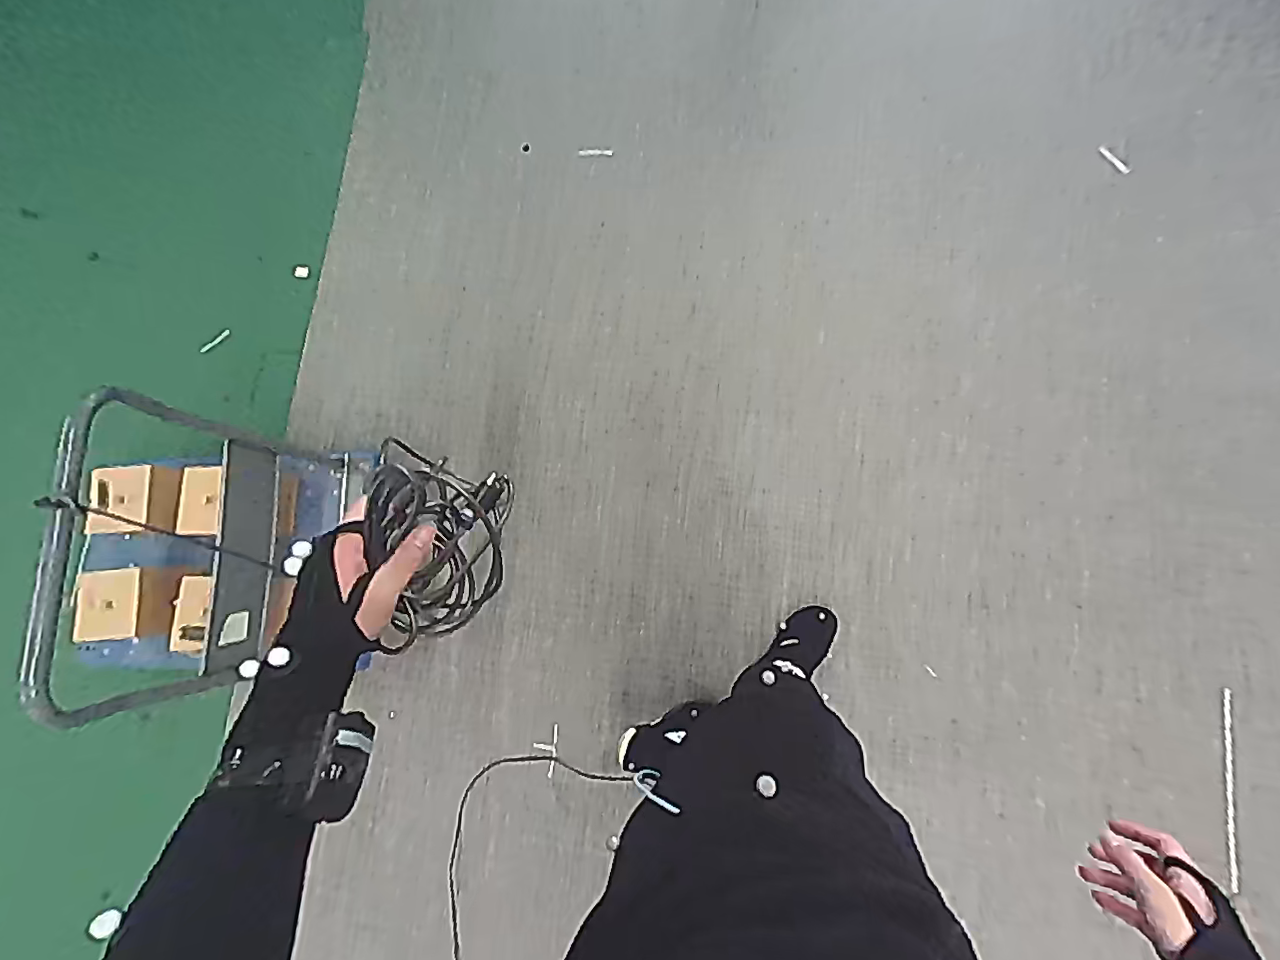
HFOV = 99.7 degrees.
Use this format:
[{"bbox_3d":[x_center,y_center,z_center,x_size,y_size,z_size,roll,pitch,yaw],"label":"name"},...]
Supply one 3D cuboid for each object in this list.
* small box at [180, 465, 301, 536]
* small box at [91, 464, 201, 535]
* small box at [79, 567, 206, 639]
[{"bbox_3d":[-1.020,0.058,1.391,0.179,0.176,0.168,-1,81,9],"label":"small box"},{"bbox_3d":[-1.281,0.058,1.432,0.179,0.176,0.168,-4,81,8],"label":"small box"},{"bbox_3d":[-1.268,0.312,1.391,0.179,0.176,0.168,-5,79,8],"label":"small box"}]
